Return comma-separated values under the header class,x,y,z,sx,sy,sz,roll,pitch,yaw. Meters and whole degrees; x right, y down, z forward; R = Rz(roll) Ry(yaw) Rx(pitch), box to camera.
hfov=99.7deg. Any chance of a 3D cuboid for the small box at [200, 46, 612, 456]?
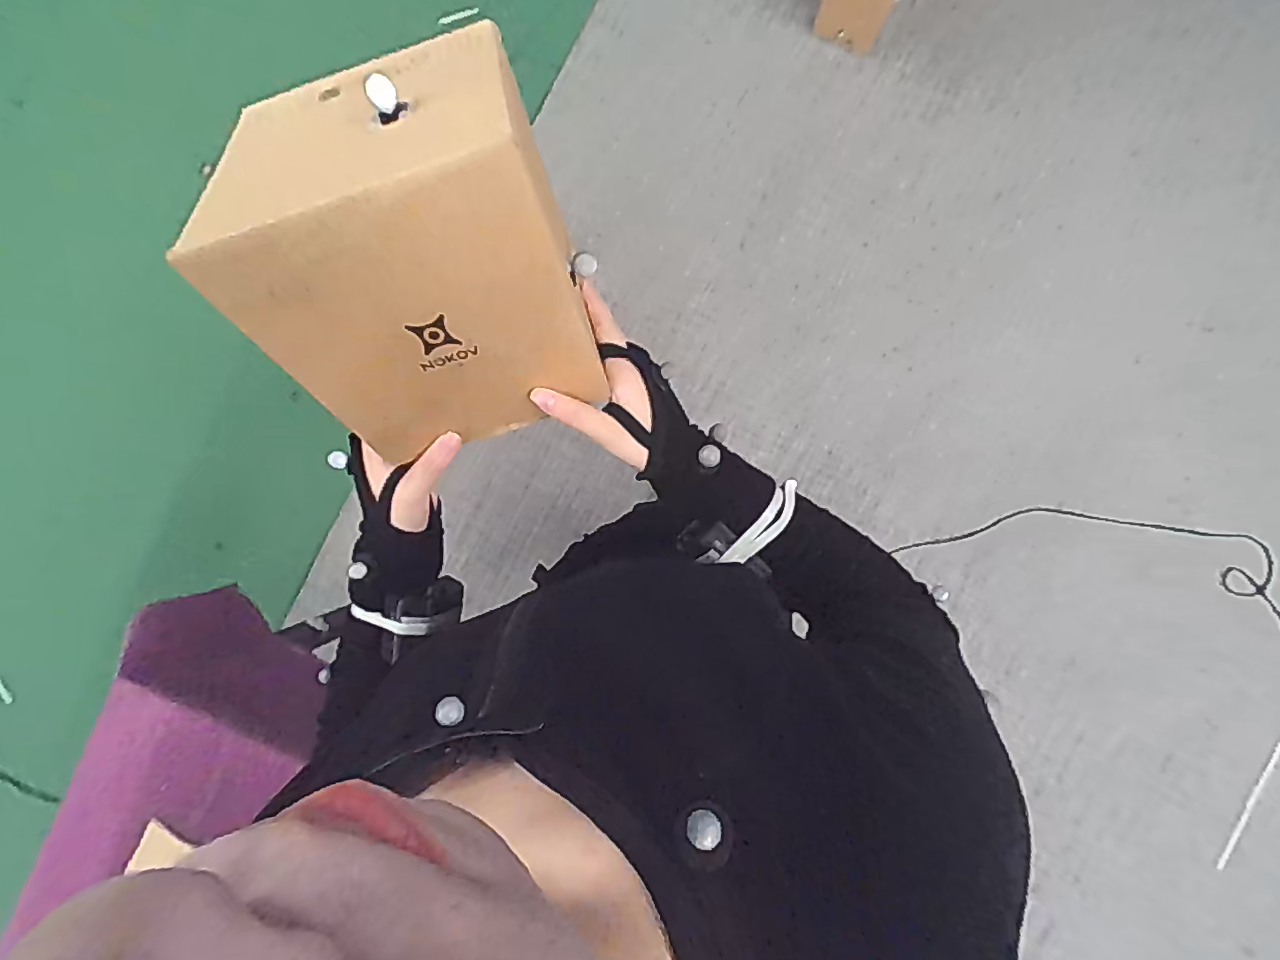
class,x,y,z,sx,sy,sz,roll,pitch,yaw
small box,-0.130,-0.149,0.361,0.168,0.179,0.176,-17,57,3
